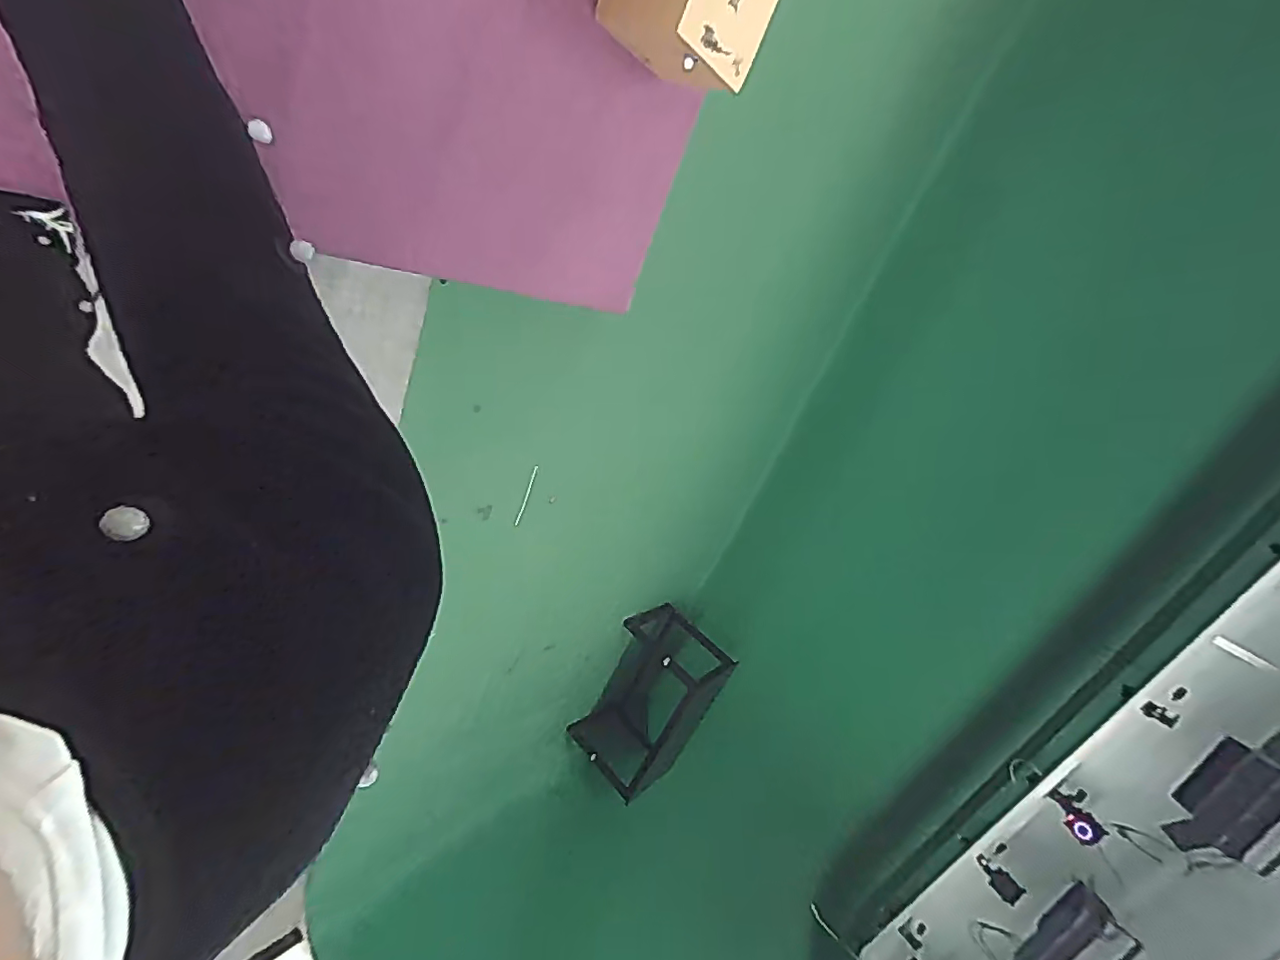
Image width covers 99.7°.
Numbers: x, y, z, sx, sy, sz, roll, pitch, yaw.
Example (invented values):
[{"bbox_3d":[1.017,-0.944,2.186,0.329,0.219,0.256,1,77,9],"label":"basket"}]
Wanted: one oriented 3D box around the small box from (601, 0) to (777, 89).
[{"bbox_3d":[0.074,-0.682,0.737,0.168,0.176,0.179,-6,127,-51],"label":"small box"}]
